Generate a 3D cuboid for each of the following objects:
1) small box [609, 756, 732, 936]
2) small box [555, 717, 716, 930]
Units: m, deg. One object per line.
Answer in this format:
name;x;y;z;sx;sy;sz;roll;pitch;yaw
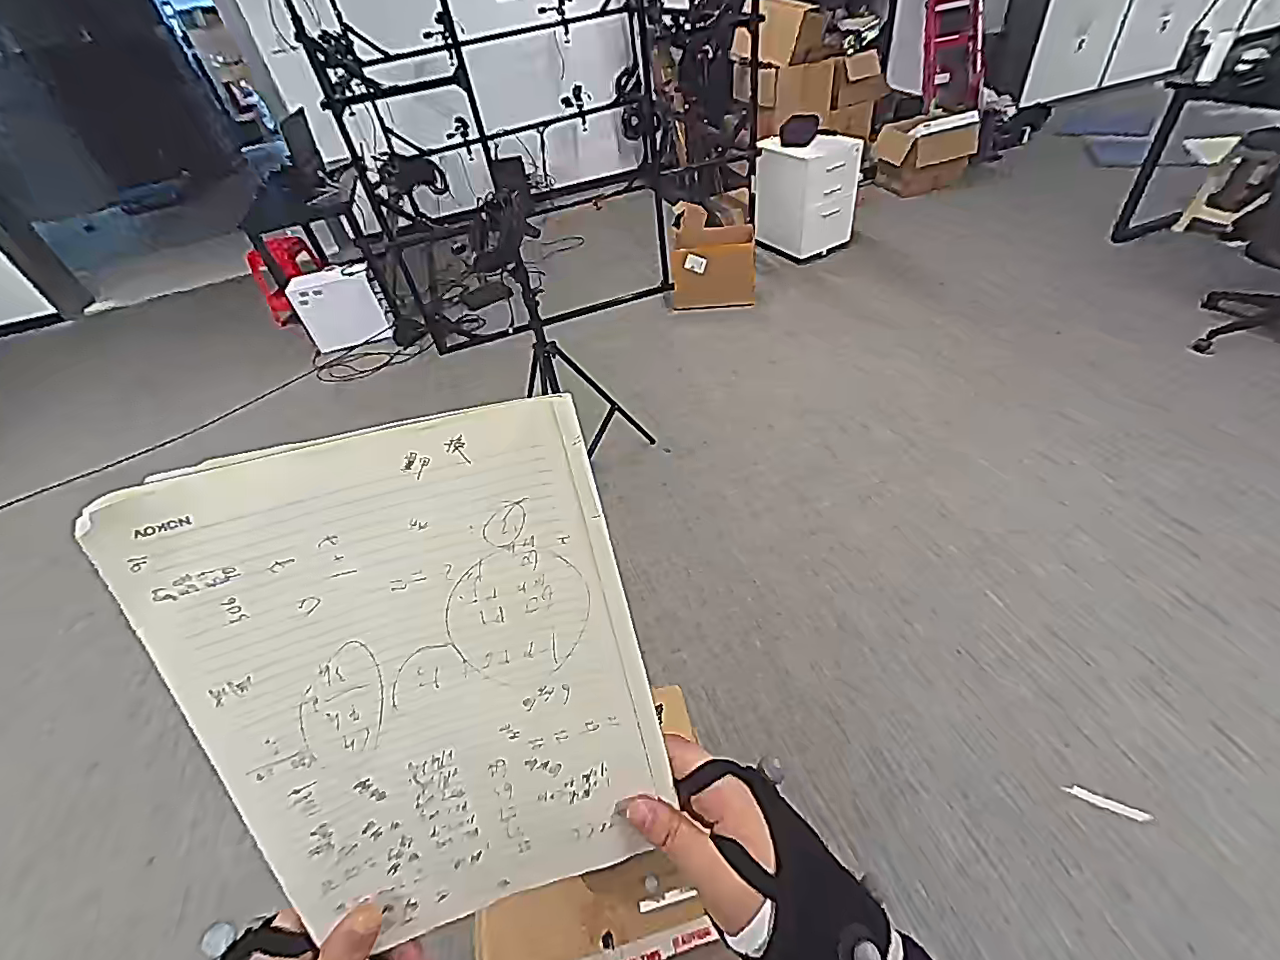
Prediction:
small box;0.024;0.548;0.809;0.179;0.176;0.168;-15;45;-7
small box;-0.008;0.437;0.690;0.168;0.176;0.179;-12;45;-5
